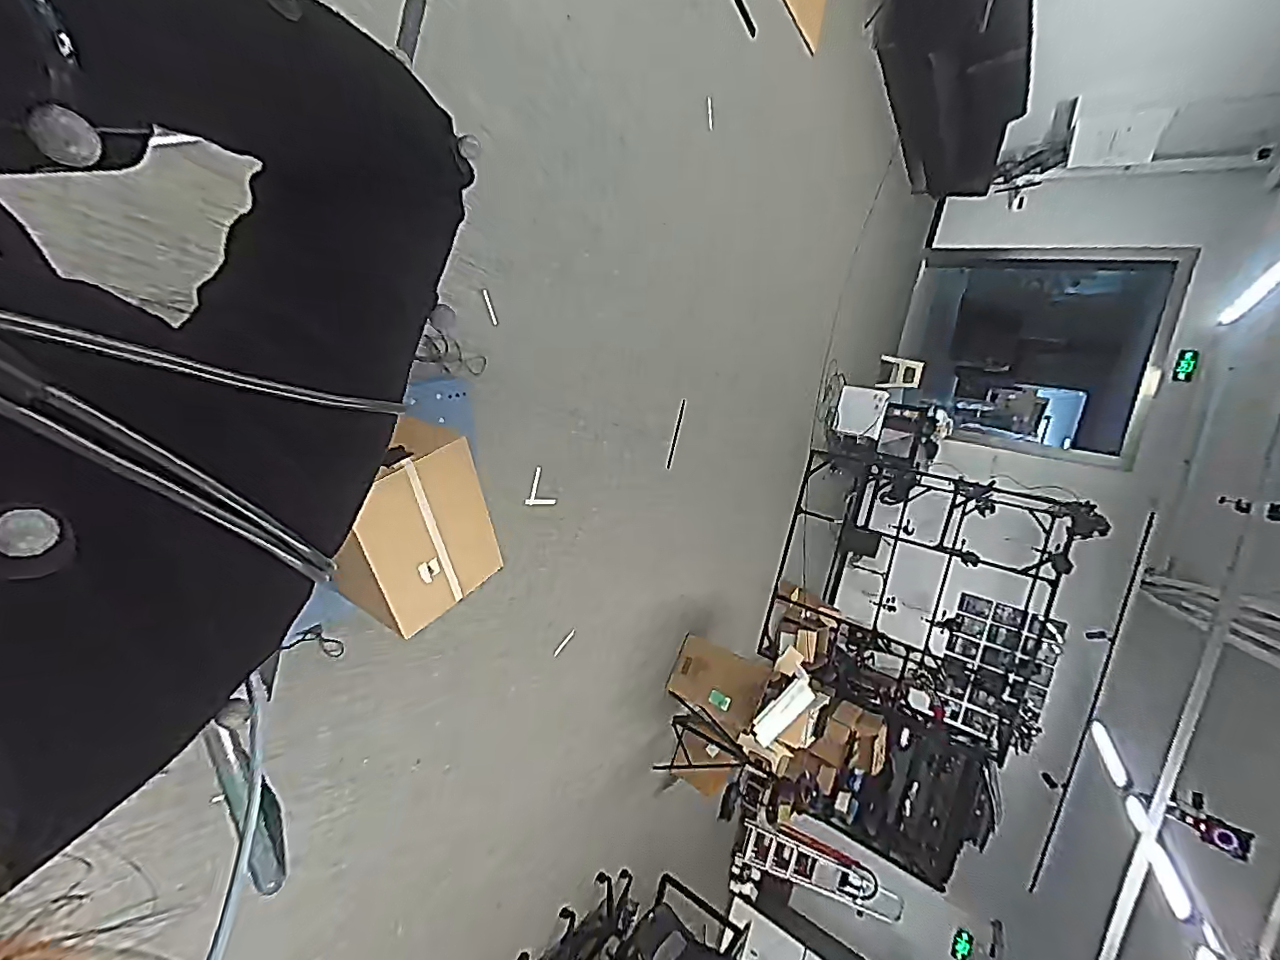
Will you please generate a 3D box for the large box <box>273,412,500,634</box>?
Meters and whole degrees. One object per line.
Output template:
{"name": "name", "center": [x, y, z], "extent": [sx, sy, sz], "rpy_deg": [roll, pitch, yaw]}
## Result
{"name": "large box", "center": [-0.607, 0.090, 1.340], "extent": [0.320, 0.320, 0.408], "rpy_deg": [-38, 133, -41]}
